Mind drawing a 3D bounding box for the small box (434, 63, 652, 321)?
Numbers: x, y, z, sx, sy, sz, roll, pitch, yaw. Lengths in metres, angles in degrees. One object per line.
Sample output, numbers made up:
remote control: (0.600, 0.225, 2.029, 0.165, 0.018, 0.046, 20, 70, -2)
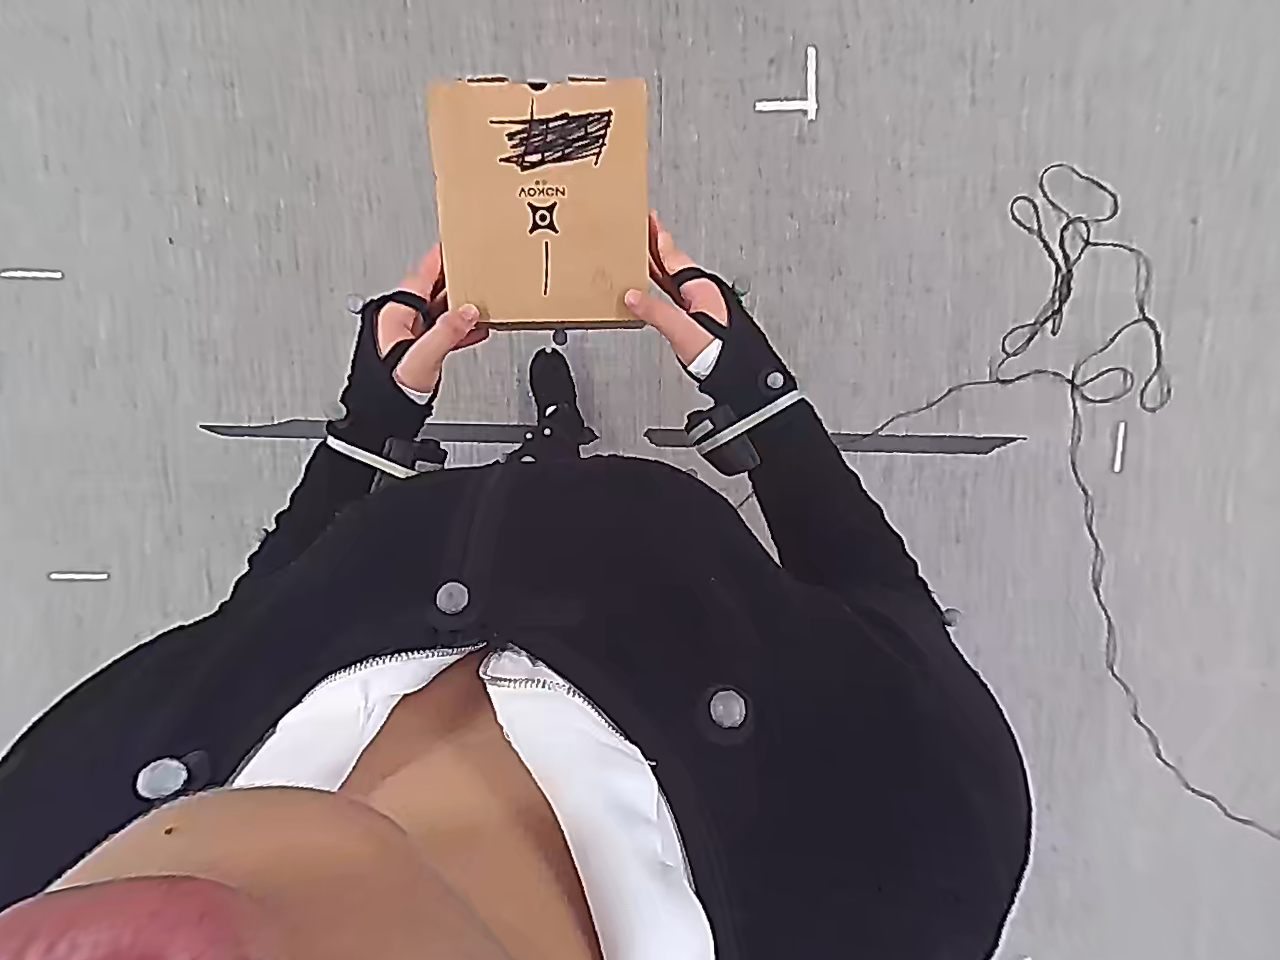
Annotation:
small box: (-0.075, -0.244, 0.500, 0.168, 0.176, 0.179, -1, 104, -1)
